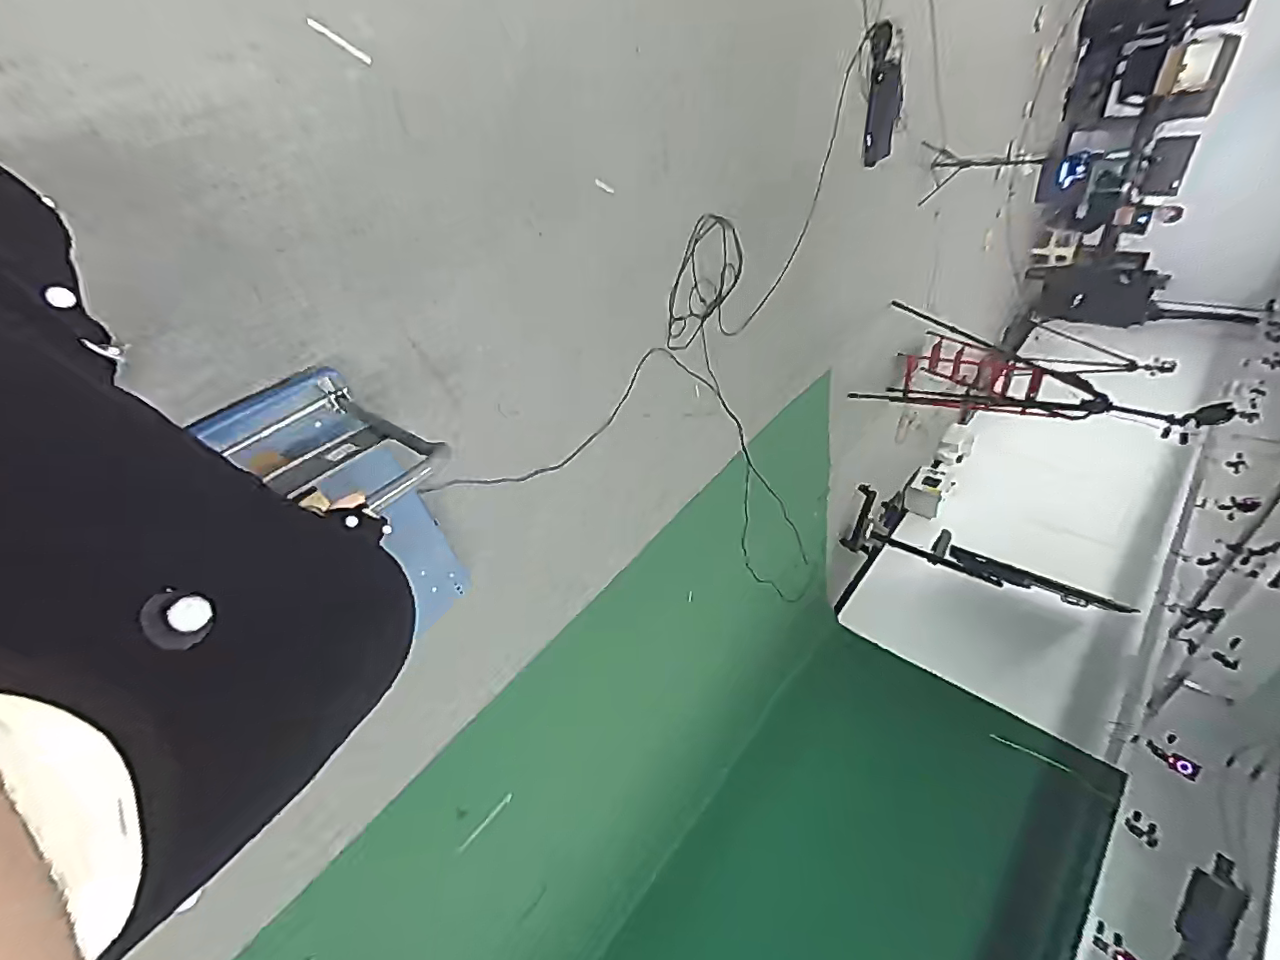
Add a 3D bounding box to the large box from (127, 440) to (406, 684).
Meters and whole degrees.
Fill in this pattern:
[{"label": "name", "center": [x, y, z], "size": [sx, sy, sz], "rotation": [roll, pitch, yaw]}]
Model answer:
[{"label": "large box", "center": [-0.838, 0.182, 1.248], "size": [0.320, 0.320, 0.408], "rotation": [-42, 137, -27]}]
